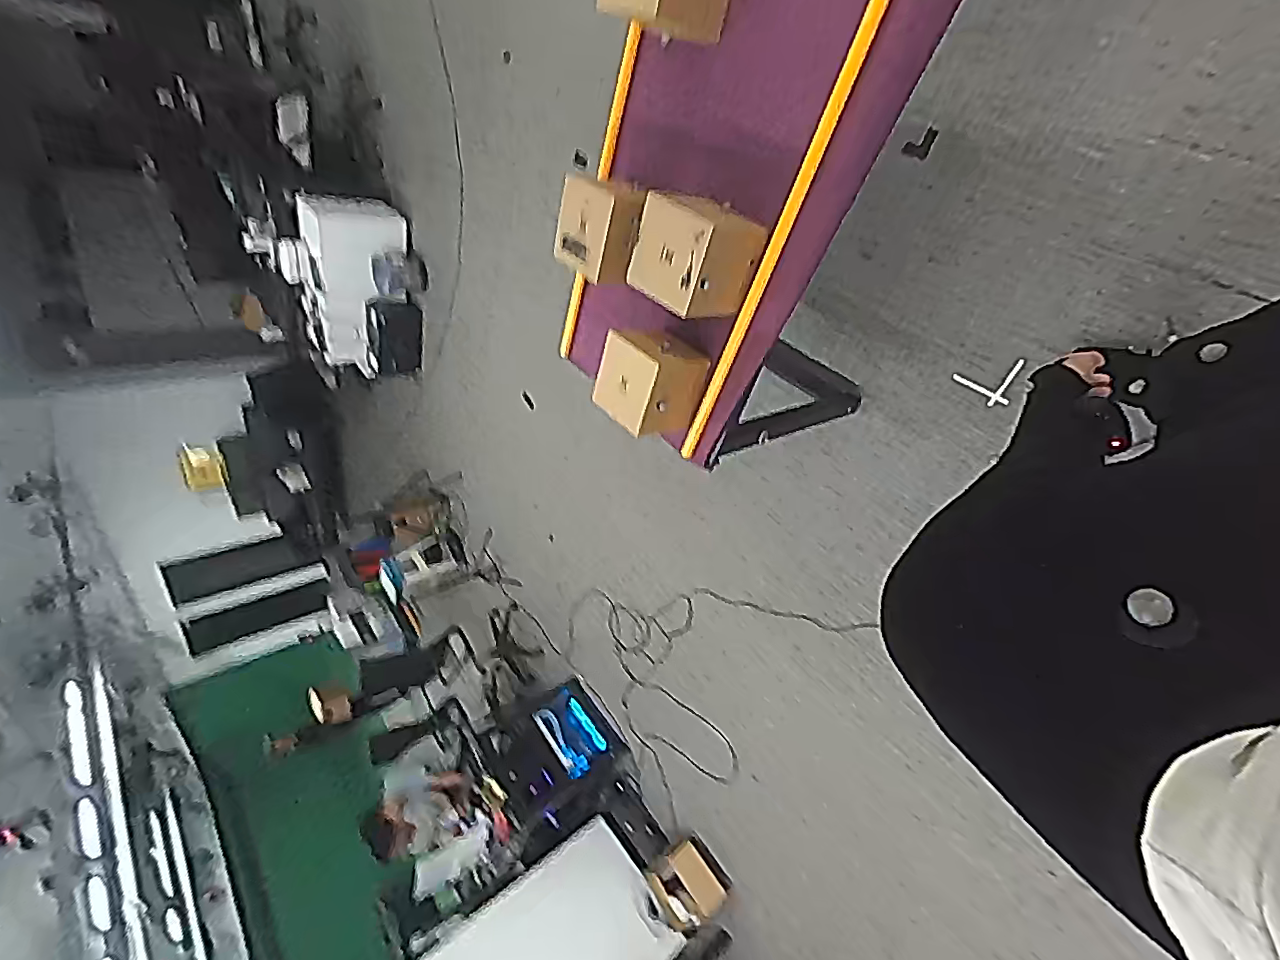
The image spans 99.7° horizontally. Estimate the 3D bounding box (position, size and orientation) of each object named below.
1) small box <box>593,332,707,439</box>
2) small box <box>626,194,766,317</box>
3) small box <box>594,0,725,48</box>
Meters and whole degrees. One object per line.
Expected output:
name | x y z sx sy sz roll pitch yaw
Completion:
small box | 0.024 -0.219 1.209 0.168 0.176 0.179 43 132 31
small box | 0.105 -0.428 1.041 0.179 0.176 0.168 44 133 31
small box | 0.047 -0.888 0.937 0.168 0.176 0.179 40 132 32
